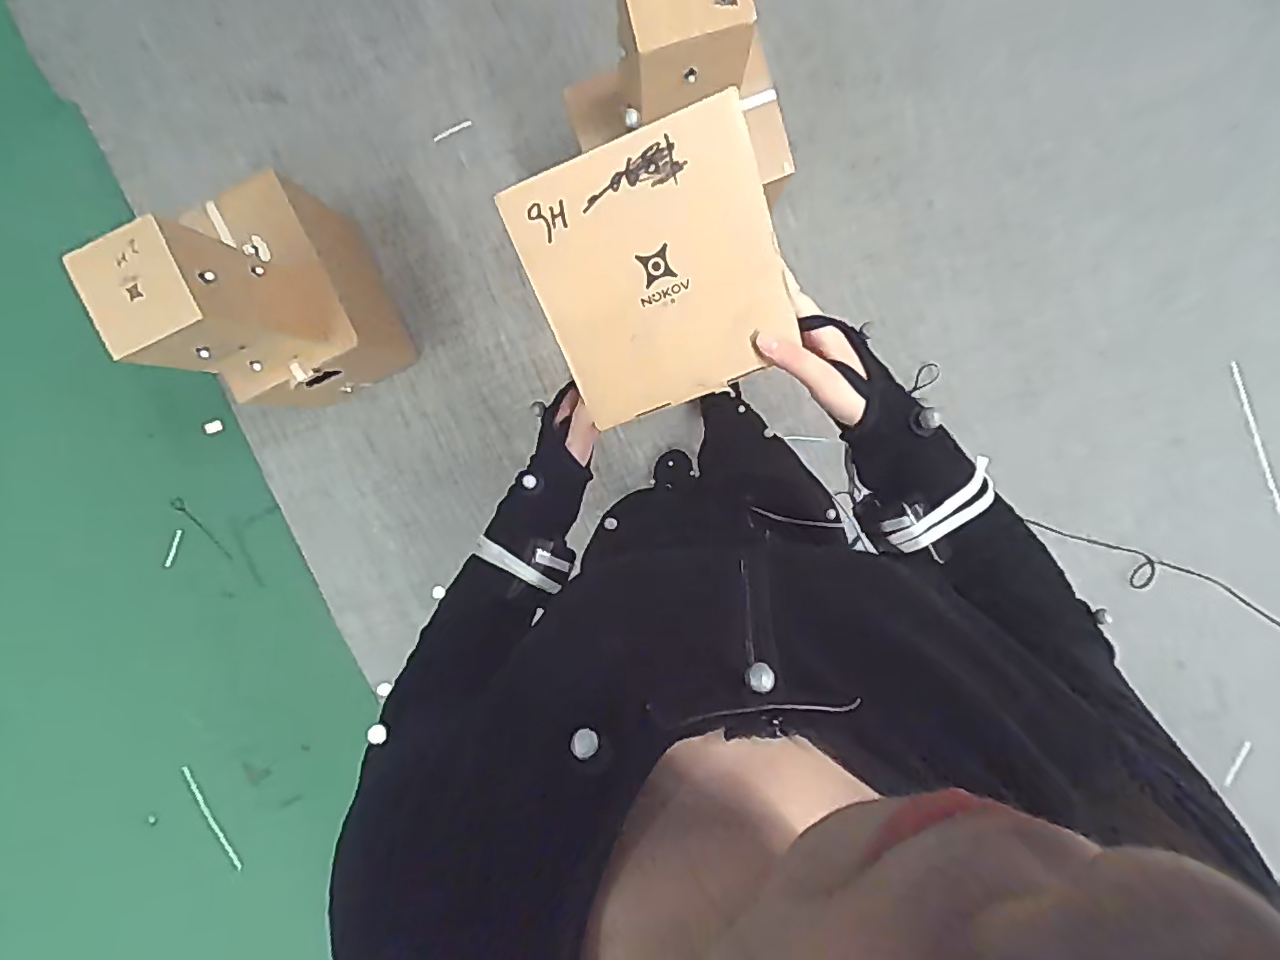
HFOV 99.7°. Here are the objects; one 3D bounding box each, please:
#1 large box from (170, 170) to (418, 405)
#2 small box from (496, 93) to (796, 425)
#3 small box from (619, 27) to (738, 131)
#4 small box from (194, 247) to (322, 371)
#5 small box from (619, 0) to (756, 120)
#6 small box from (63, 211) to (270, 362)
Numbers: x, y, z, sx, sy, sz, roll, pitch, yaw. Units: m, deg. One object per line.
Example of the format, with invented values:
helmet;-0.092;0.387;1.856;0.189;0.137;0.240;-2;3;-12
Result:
large box;-0.819;-0.428;1.309;0.320;0.320;0.408;-24;94;4
small box;0.008;-0.174;0.445;0.168;0.176;0.179;-20;115;6
small box;0.068;-0.725;1.007;0.179;0.176;0.168;-15;94;3
small box;-0.780;-0.326;1.074;0.168;0.176;0.179;-22;95;4
small box;0.065;-0.708;0.843;0.179;0.176;0.168;-14;93;4
small box;-0.776;-0.309;0.909;0.168;0.176;0.179;-22;95;3
